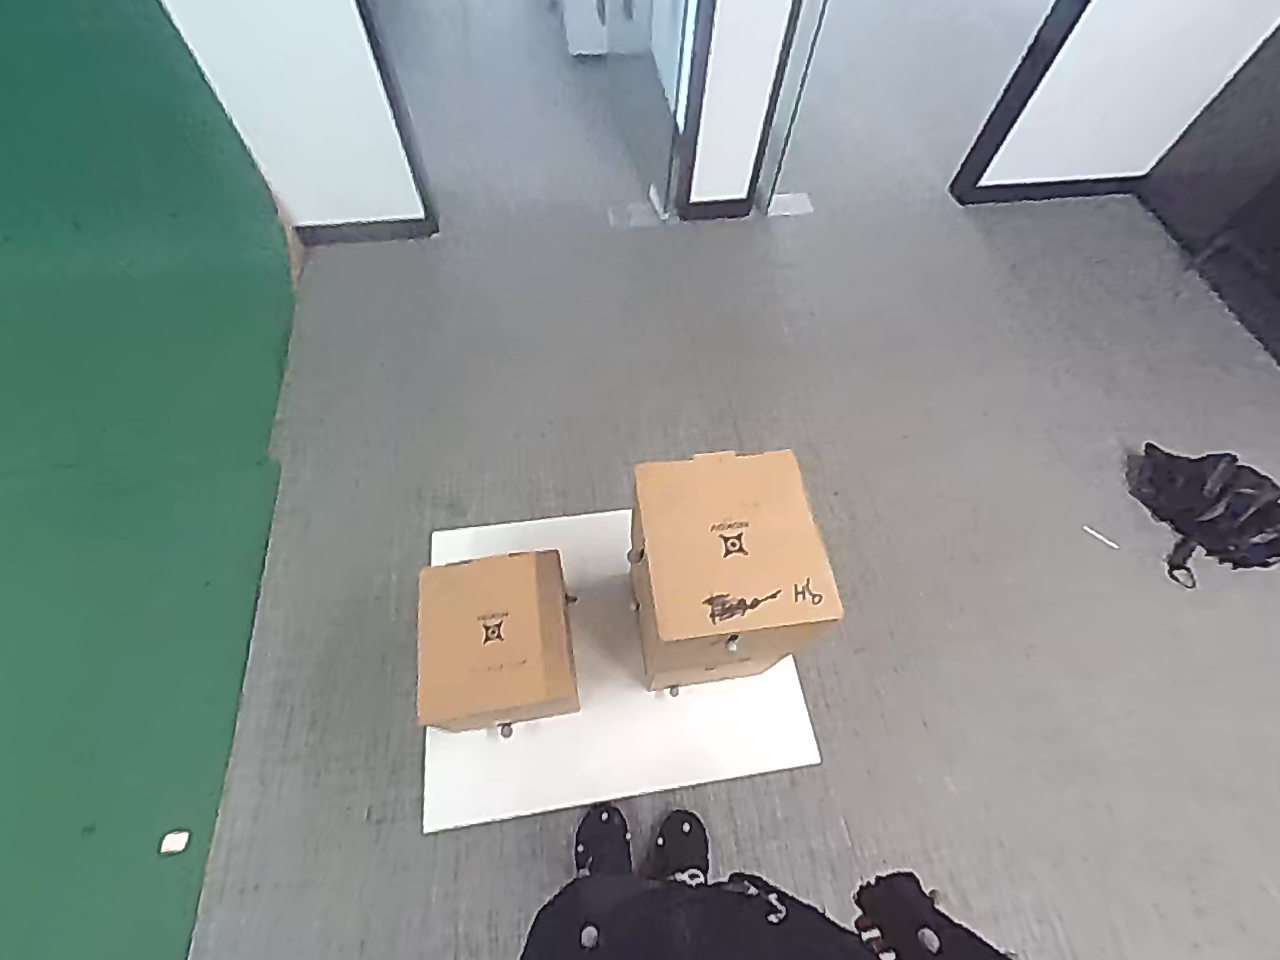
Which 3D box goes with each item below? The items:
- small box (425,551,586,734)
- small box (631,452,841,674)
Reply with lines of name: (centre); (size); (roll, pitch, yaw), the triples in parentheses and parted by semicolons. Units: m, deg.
small box: (-0.165, 0.212, 0.689); (0.168, 0.176, 0.179); (-10, 63, -7)
small box: (0.082, 0.092, 0.574); (0.168, 0.176, 0.179); (-7, 61, -5)
